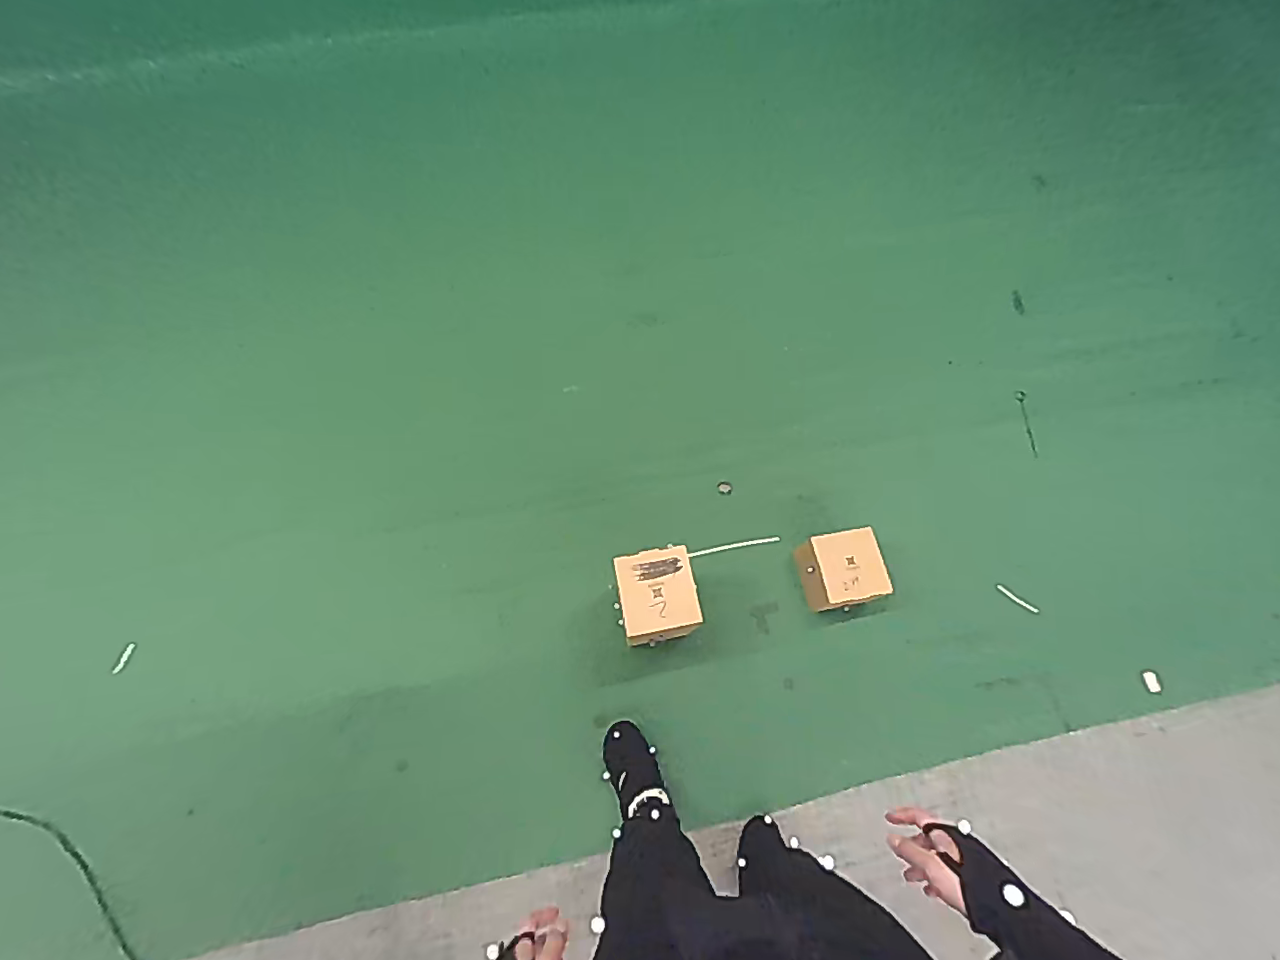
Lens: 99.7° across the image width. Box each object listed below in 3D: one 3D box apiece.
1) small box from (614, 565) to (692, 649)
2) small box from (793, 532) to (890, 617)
[{"bbox_3d":[0.031,0.334,1.395,0.168,0.176,0.179,-10,69,-5],"label":"small box"},{"bbox_3d":[0.525,0.254,1.439,0.168,0.176,0.179,-9,69,-5],"label":"small box"}]
